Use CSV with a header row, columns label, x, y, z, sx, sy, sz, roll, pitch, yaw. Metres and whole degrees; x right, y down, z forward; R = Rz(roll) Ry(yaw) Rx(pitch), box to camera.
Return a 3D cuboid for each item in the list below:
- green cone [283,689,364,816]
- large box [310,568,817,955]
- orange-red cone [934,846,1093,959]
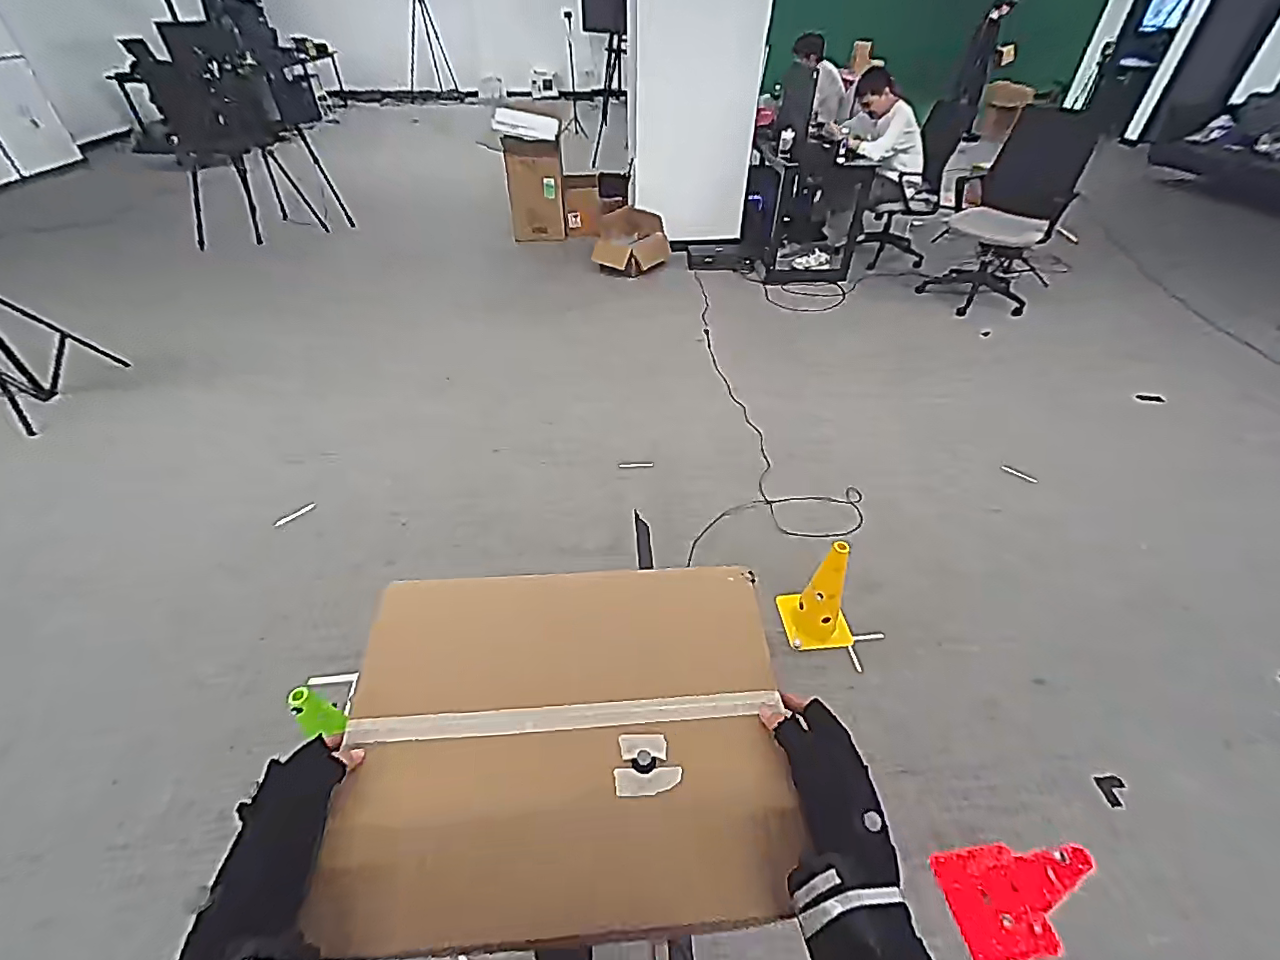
label,x,y,z,sx,sy,sz,roll,pitch,yaw
green cone,-0.736,0.592,1.277,0.202,0.368,0.200,-32,50,-29
large box,-0.071,0.323,0.627,0.408,0.320,0.320,-2,49,-4
orange-red cone,0.774,0.797,1.067,0.198,0.360,0.199,-3,40,-6
